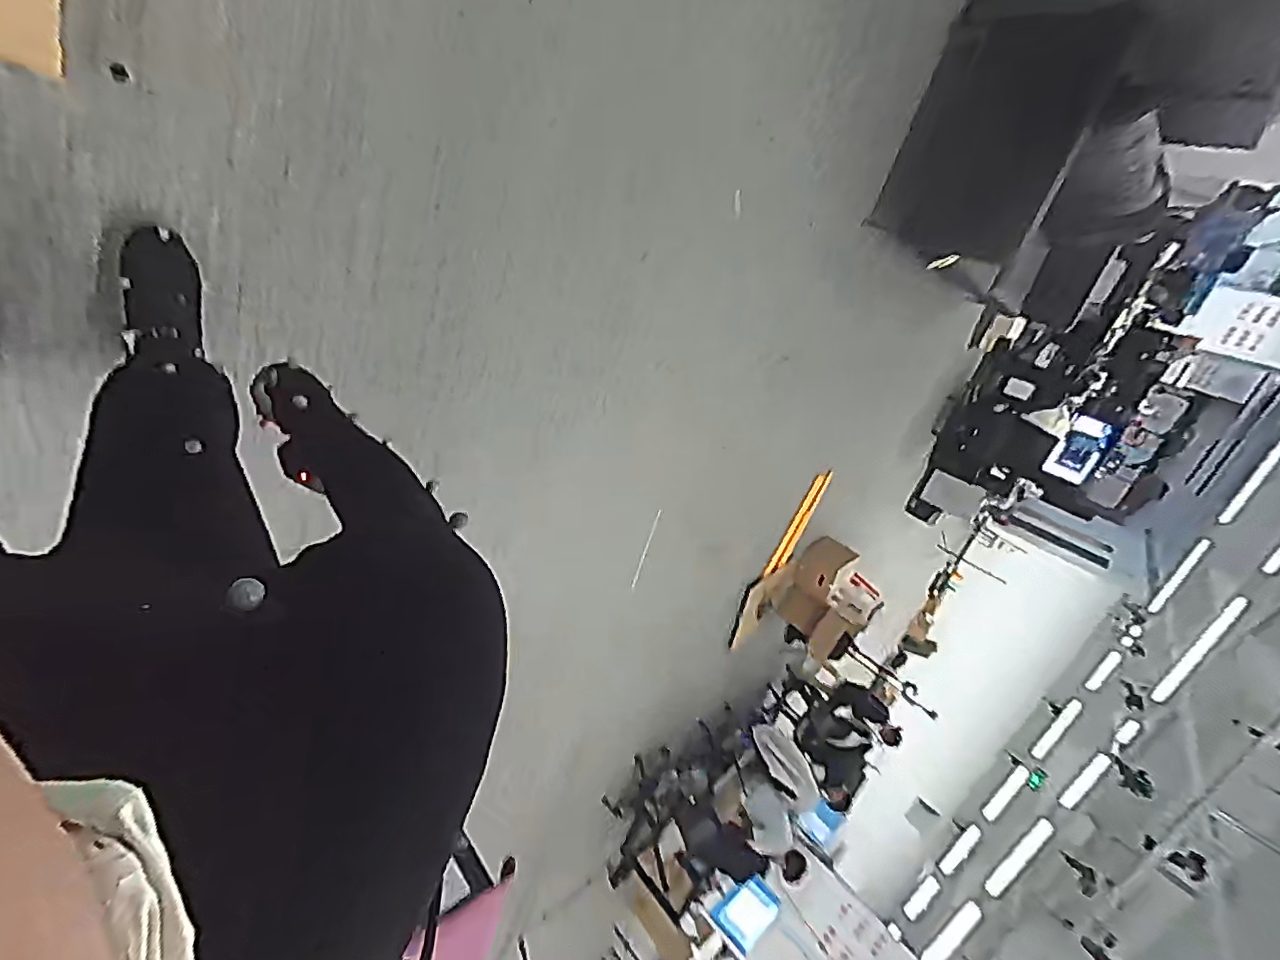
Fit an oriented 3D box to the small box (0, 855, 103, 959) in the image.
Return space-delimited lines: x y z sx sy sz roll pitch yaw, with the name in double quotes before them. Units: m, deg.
"small box" -1.502 1.109 1.381 0.168 0.176 0.179 -9 125 -45
